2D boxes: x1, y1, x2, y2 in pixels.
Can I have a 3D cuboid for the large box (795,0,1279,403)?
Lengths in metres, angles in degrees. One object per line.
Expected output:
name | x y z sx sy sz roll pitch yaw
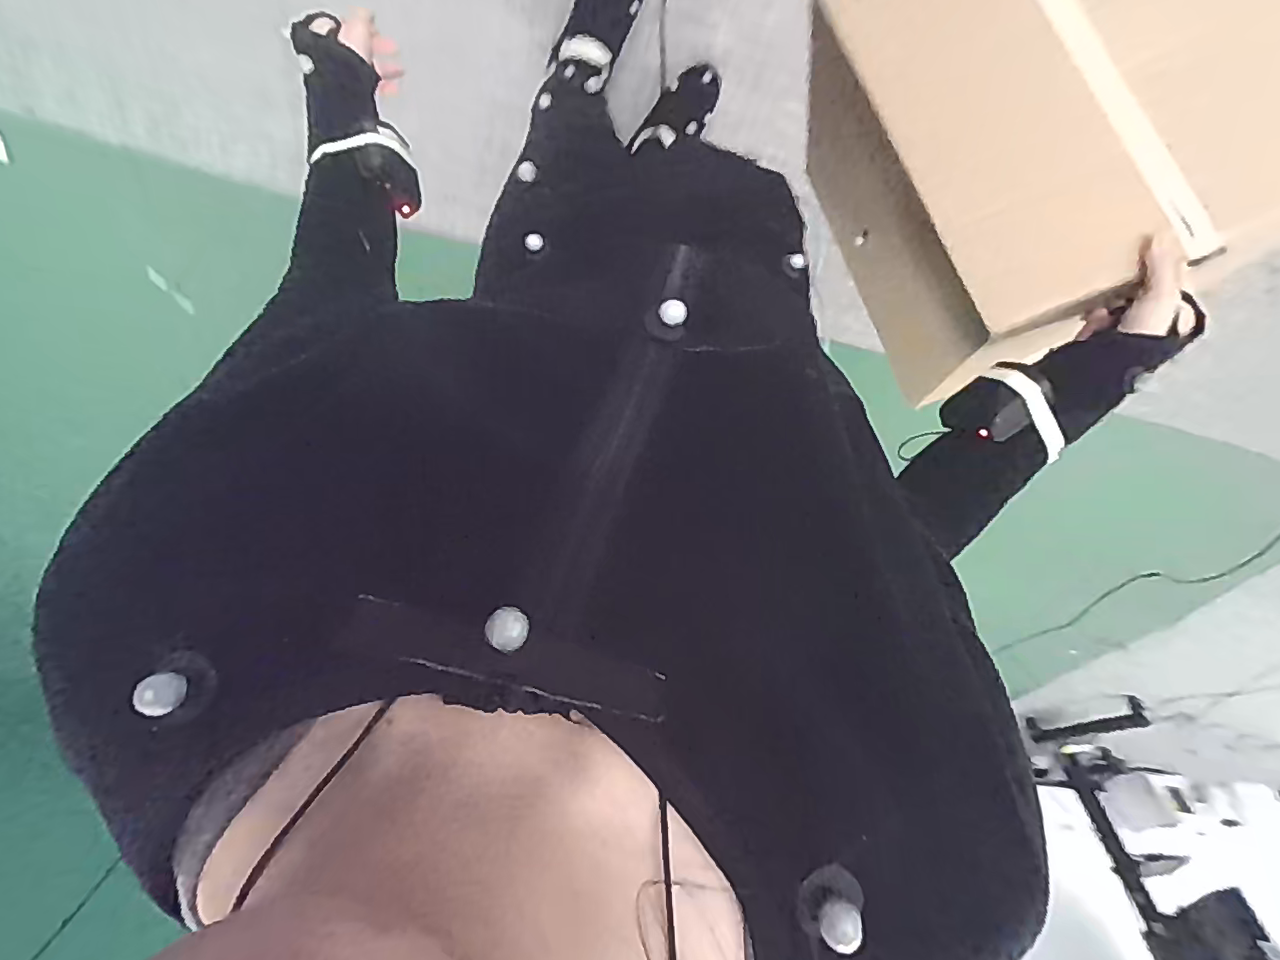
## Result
large box | 0.402 -0.353 0.616 0.320 0.408 0.320 -22 170 12
